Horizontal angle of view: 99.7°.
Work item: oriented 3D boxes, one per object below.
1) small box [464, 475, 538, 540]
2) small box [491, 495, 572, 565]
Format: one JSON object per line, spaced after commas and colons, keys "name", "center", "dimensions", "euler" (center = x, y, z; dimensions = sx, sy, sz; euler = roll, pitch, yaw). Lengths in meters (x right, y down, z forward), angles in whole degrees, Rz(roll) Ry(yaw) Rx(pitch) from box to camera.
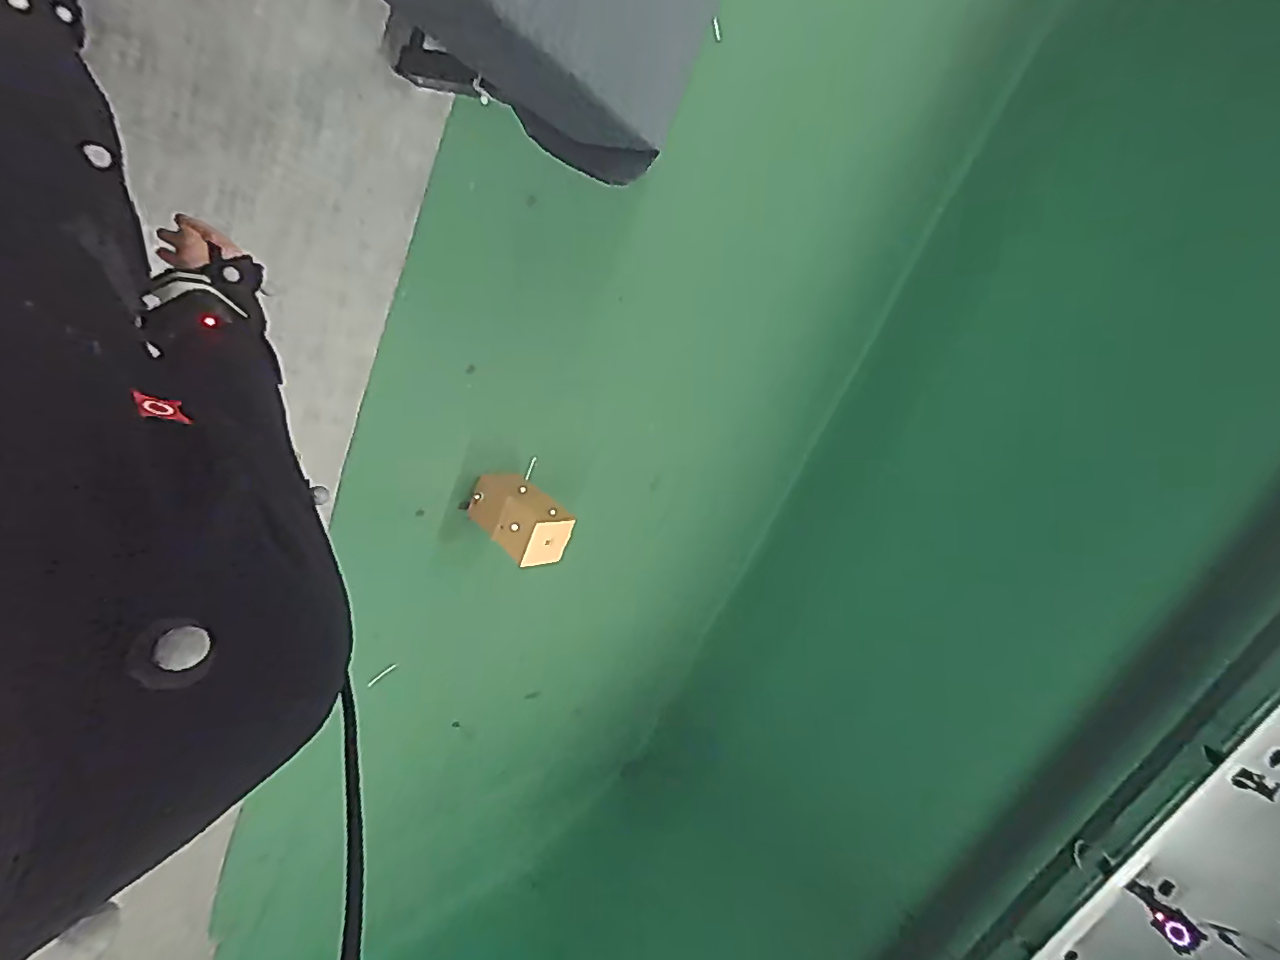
{"name": "small box", "center": [-0.477, 0.090, 1.880], "dimensions": [0.179, 0.176, 0.168], "euler": [2, 117, -53]}
{"name": "small box", "center": [-0.362, 0.160, 1.787], "dimensions": [0.179, 0.176, 0.168], "euler": [-1, 119, -53]}
